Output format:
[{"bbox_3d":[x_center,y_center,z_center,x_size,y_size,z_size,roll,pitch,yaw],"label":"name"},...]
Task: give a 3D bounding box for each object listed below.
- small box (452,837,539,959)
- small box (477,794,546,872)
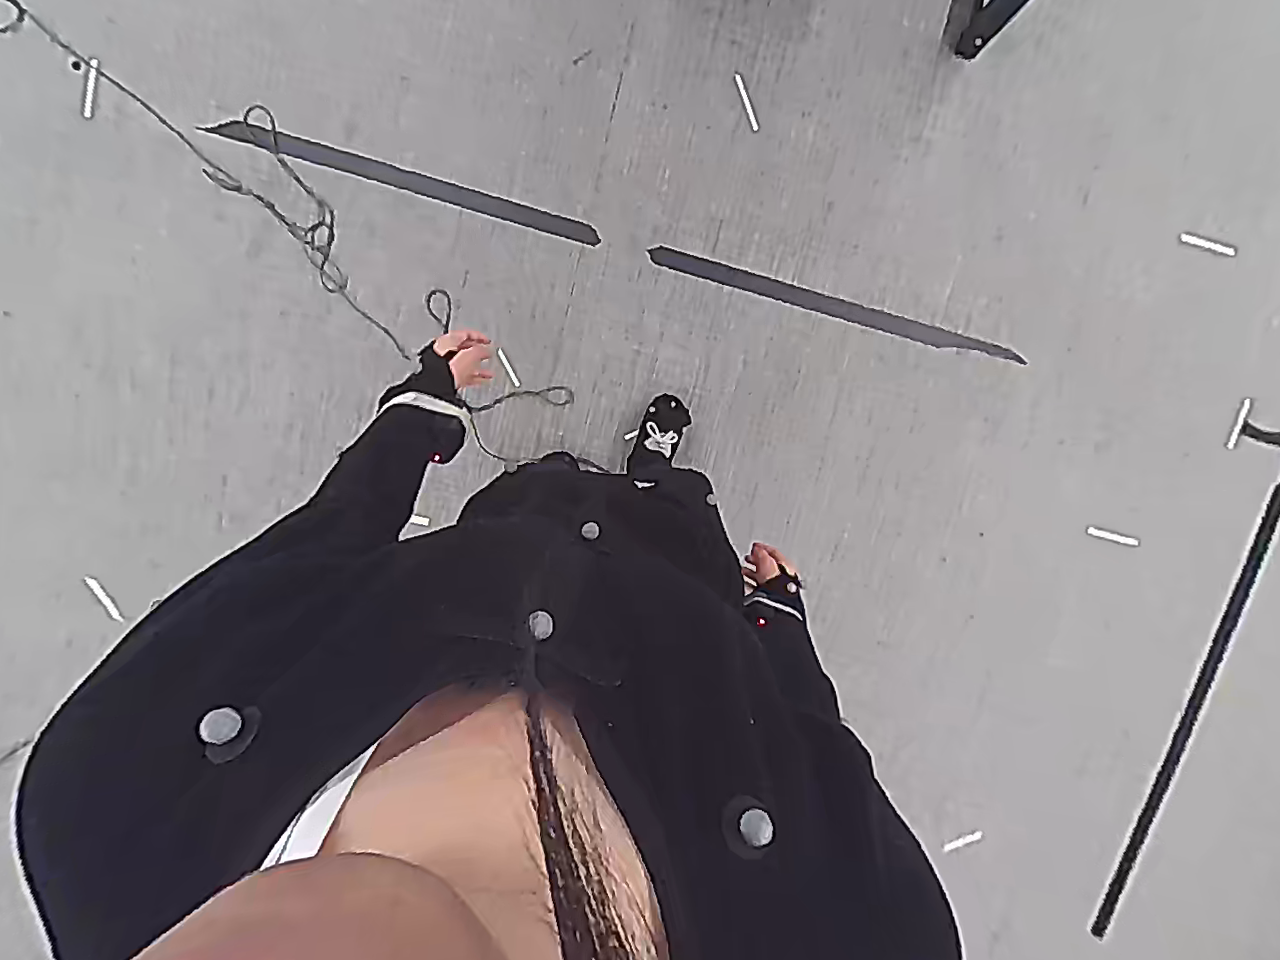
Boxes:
[{"bbox_3d":[-0.357,1.048,1.360,0.168,0.176,0.179,9,98,-3],"label":"small box"},{"bbox_3d":[-0.364,1.023,1.523,0.168,0.176,0.179,8,97,-2],"label":"small box"}]
